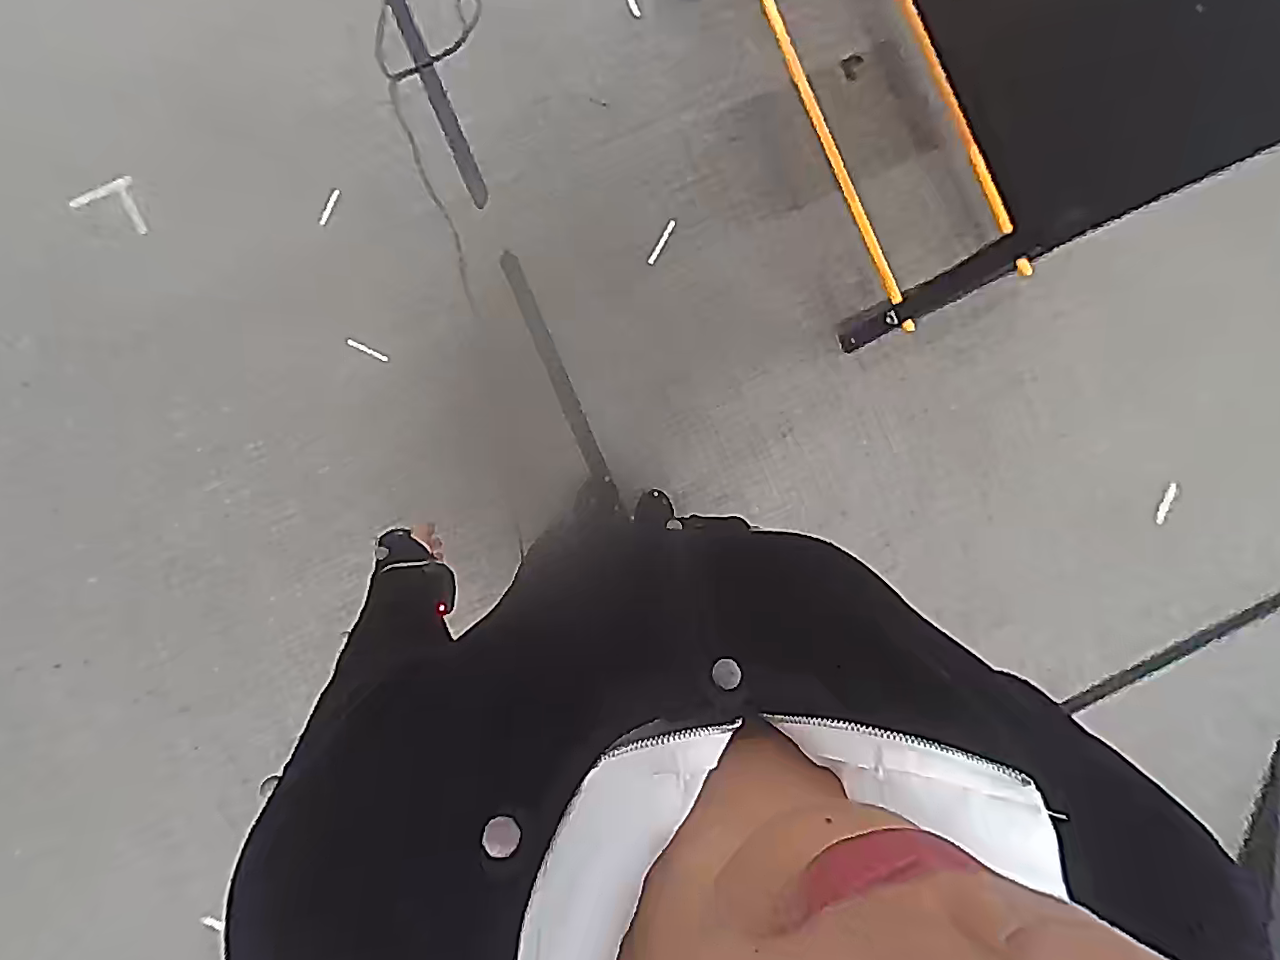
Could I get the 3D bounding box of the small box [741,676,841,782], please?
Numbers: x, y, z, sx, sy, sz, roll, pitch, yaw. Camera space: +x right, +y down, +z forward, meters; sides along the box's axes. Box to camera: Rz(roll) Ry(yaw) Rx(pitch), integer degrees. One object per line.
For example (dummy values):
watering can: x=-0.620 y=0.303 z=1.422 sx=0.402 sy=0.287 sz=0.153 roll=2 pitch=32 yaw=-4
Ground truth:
small box: x=0.395 y=0.653 z=1.442 sx=0.179 sy=0.176 sz=0.168 roll=-26 pitch=91 yaw=-2
